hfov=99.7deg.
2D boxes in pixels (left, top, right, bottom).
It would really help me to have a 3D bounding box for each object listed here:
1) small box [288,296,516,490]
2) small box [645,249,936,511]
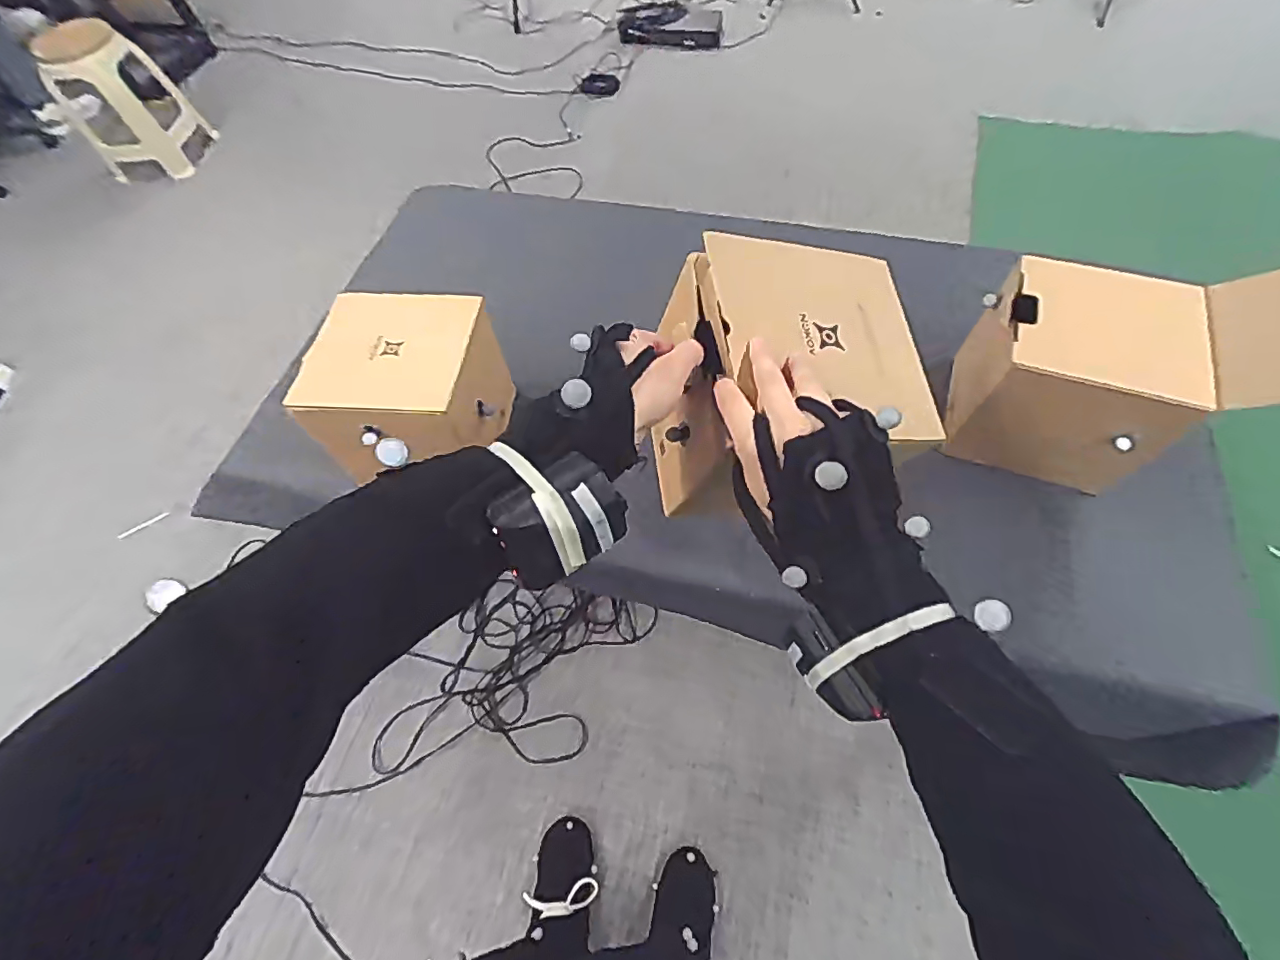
[{"bbox_3d":[-0.263,-0.098,0.651,0.179,0.176,0.168,2,60,6],"label":"small box"},{"bbox_3d":[0.108,-0.075,0.474,0.179,0.176,0.168,-4,72,-14],"label":"small box"}]
